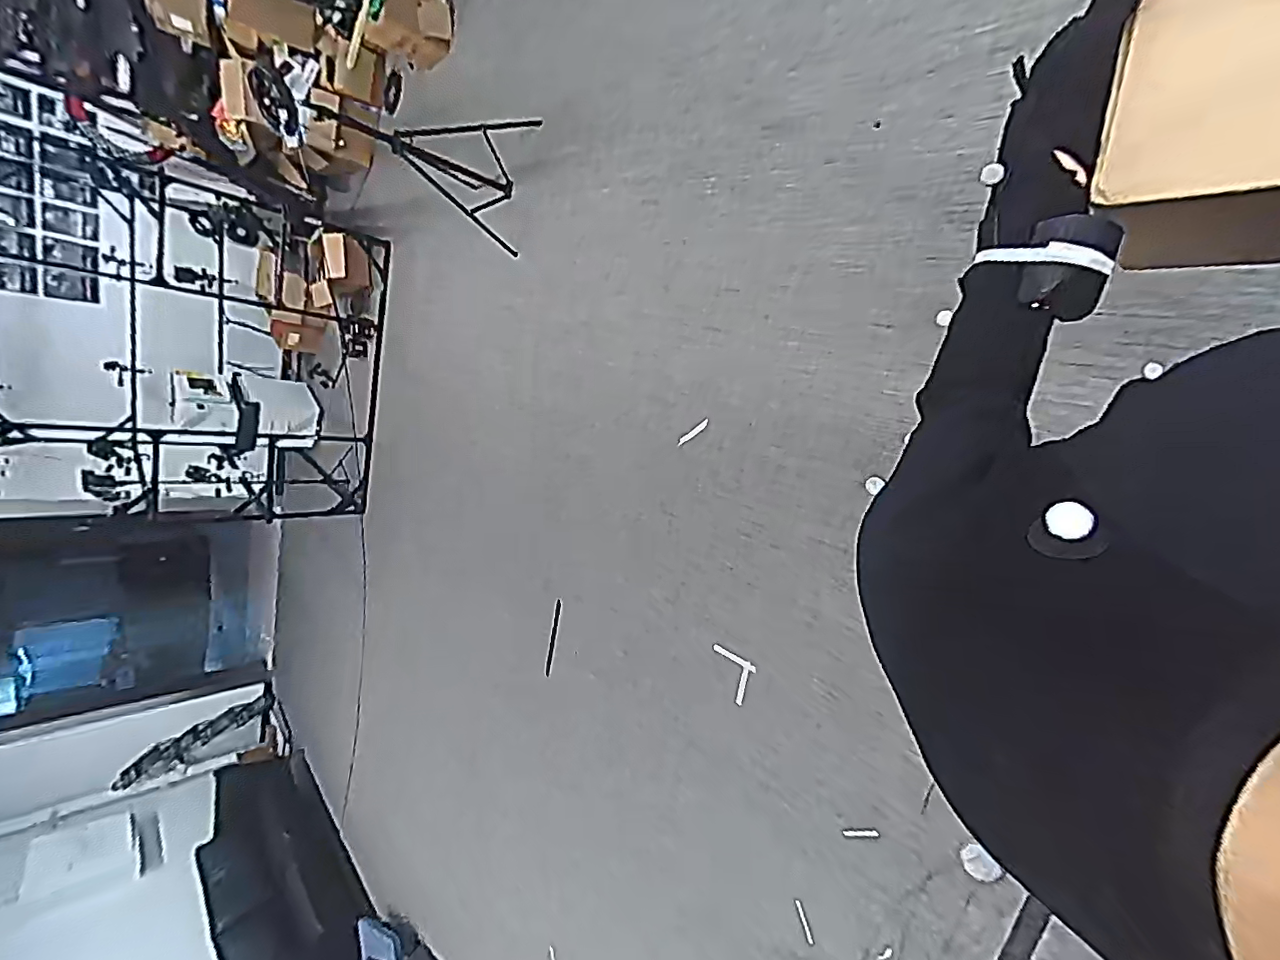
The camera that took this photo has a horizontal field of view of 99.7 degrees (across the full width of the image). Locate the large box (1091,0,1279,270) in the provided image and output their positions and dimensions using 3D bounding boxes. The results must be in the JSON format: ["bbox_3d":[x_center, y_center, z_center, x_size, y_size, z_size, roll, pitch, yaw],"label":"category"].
[{"bbox_3d":[0.594,-0.339,0.356,0.408,0.320,0.320,15,108,42],"label":"large box"}]
